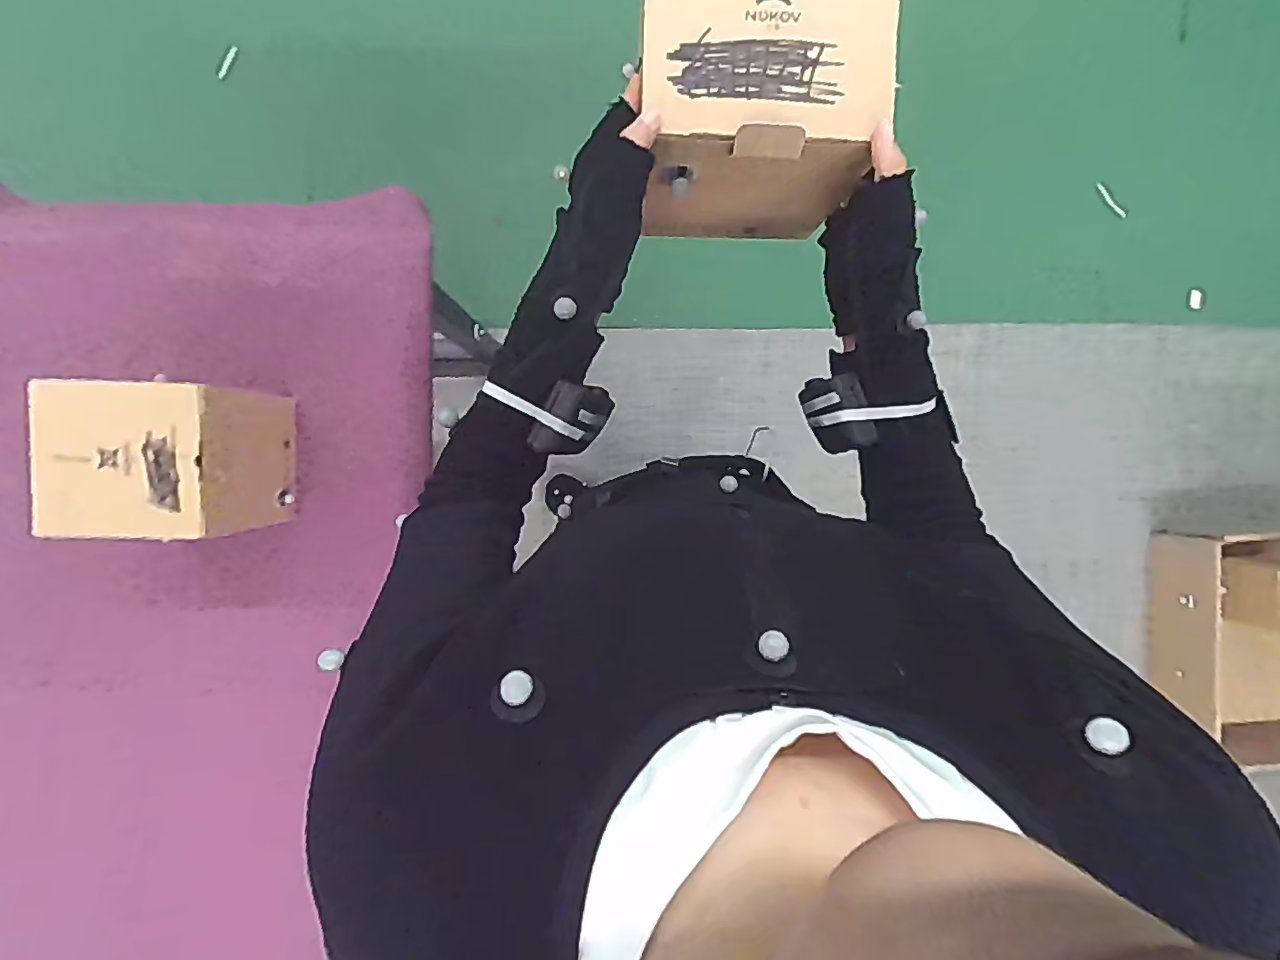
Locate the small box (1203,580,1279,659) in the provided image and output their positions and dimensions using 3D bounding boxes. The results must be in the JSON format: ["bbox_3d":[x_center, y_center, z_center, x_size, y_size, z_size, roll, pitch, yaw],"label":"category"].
[{"bbox_3d":[1.673,0.365,1.435,0.179,0.176,0.168,1,93,-3],"label":"small box"}]
